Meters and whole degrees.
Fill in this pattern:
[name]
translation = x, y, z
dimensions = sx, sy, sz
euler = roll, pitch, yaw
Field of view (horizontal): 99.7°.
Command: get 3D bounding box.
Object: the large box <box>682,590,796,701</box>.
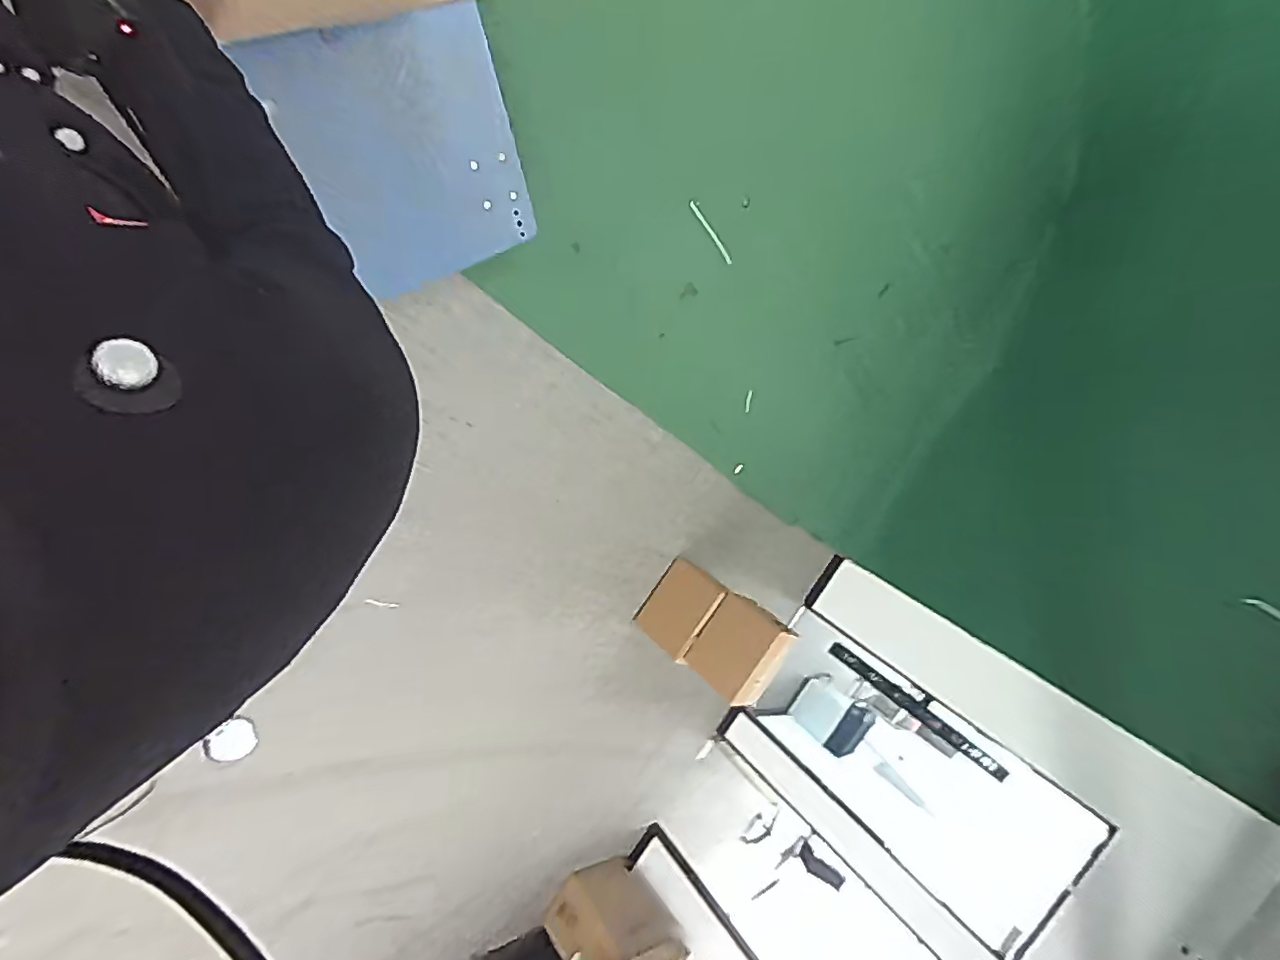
[large box]
translation = 0.476, 0.787, 2.595
dimensions = 0.408, 0.320, 0.320
euler = -56, 144, 3
